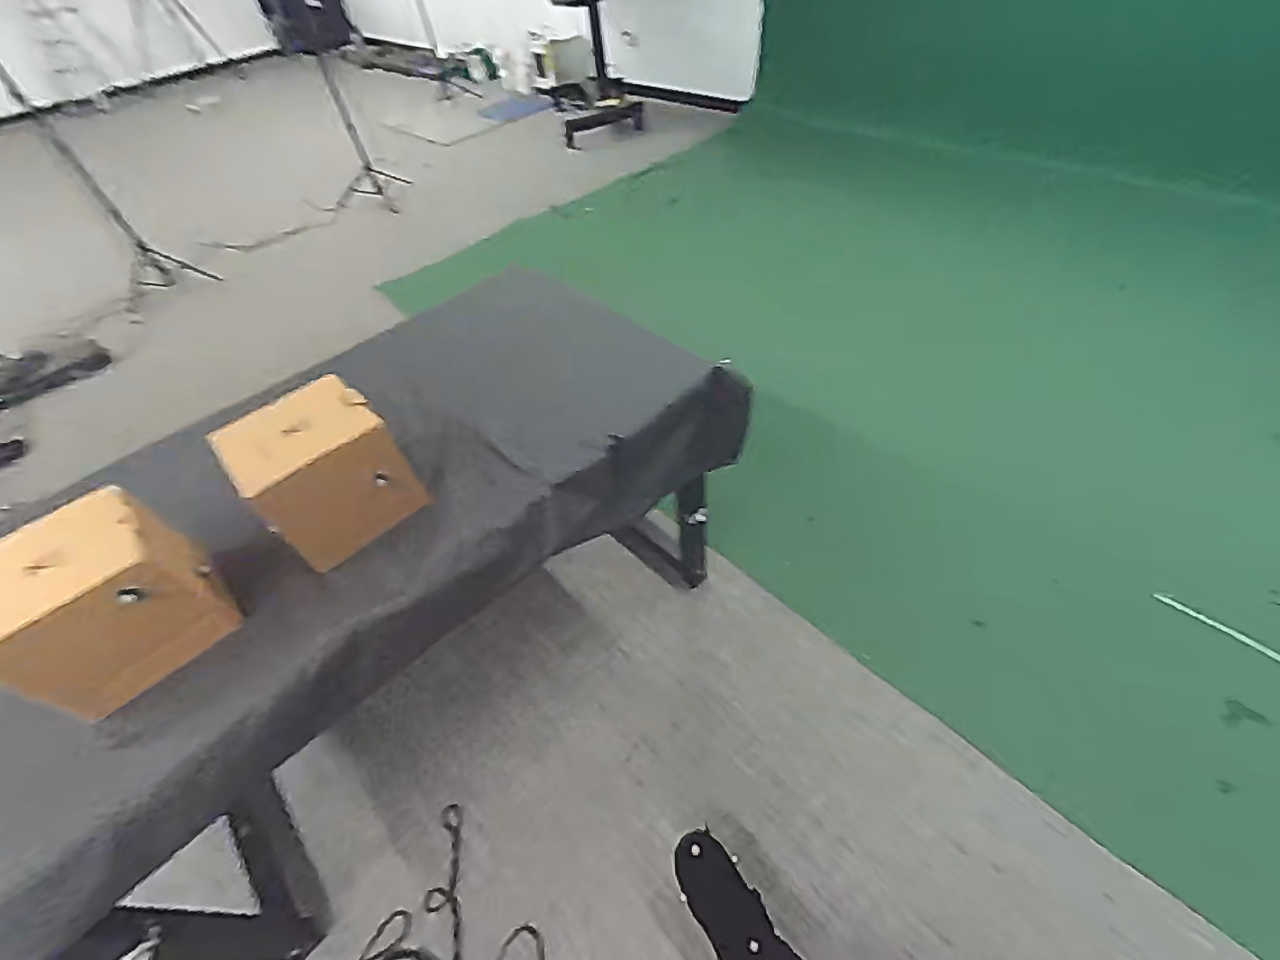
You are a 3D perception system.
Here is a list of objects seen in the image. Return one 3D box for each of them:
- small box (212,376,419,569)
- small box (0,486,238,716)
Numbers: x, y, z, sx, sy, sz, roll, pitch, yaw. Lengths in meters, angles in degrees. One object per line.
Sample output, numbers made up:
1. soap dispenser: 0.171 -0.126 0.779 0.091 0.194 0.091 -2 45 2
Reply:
1. small box: -0.442 -0.011 0.766 0.179 0.176 0.168 -40 54 -23
2. small box: -0.646 0.148 0.654 0.179 0.176 0.168 -39 55 -25
